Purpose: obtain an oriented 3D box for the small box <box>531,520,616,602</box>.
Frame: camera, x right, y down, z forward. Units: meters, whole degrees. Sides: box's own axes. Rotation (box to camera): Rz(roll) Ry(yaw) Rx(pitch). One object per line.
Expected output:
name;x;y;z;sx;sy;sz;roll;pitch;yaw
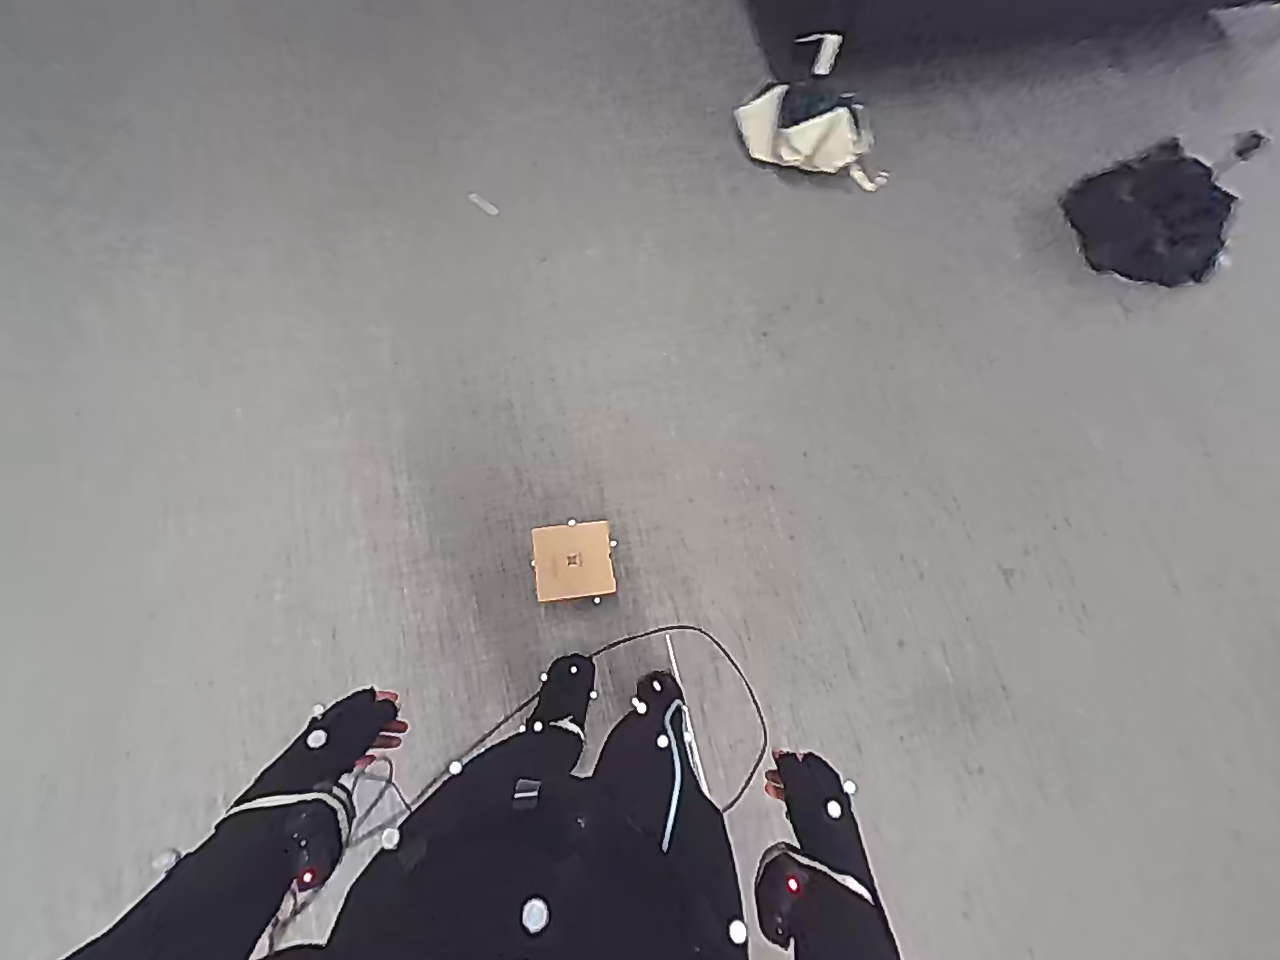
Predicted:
small box;-0.156;0.193;1.264;0.179;0.176;0.168;-5;76;-7
